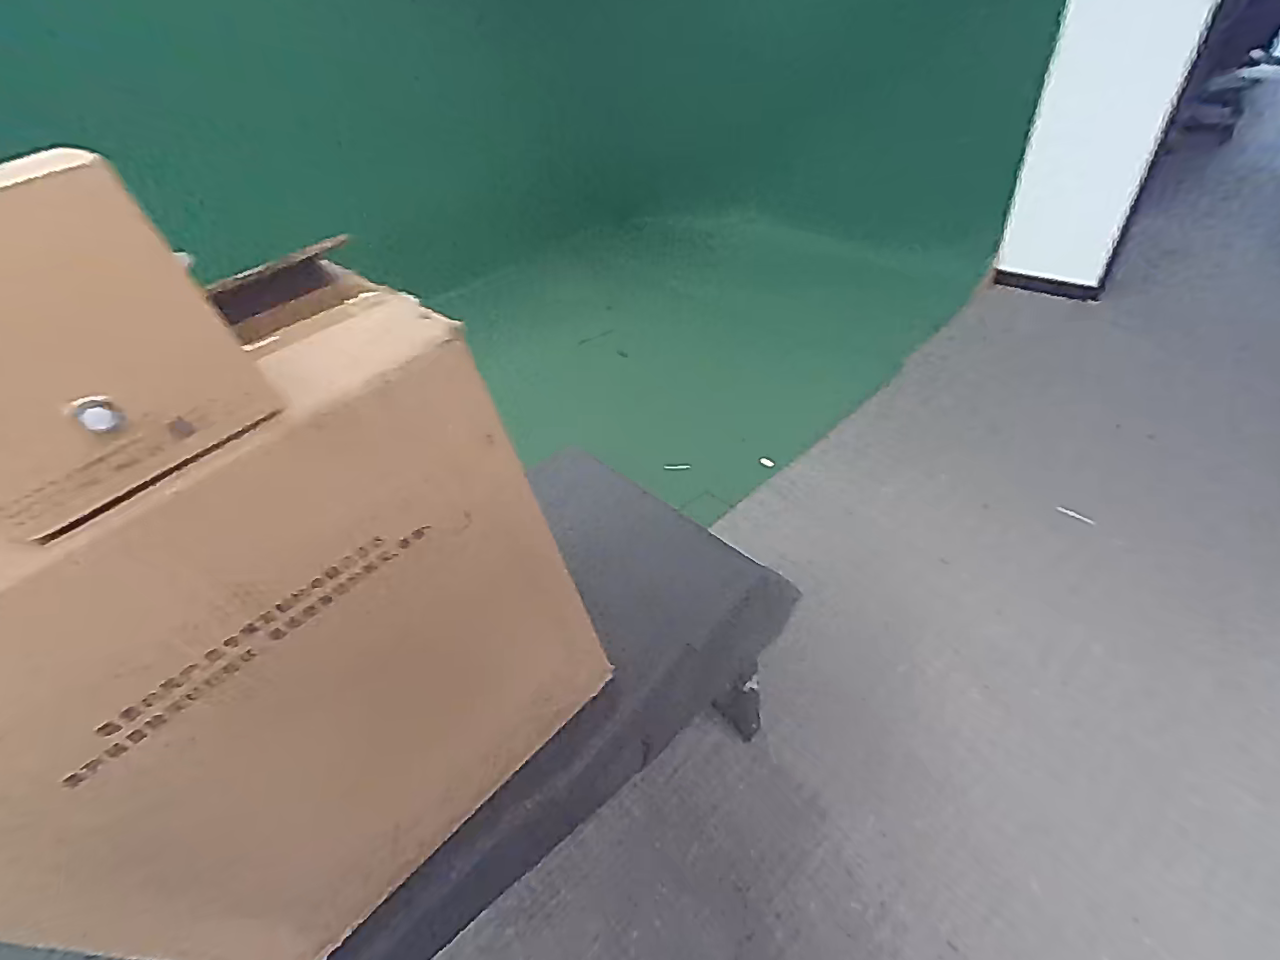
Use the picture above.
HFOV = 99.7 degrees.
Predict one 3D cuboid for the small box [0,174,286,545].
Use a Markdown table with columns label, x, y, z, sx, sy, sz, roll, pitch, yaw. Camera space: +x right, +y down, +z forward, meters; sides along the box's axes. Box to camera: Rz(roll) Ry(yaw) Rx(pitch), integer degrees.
| label | x | y | z | sx | sy | sz | roll | pitch | yaw |
| --- | --- | --- | --- | --- | --- | --- | --- | --- | --- |
| small box | -0.387 | -0.086 | 0.363 | 0.179 | 0.176 | 0.168 | 27 | 55 | 34 |
